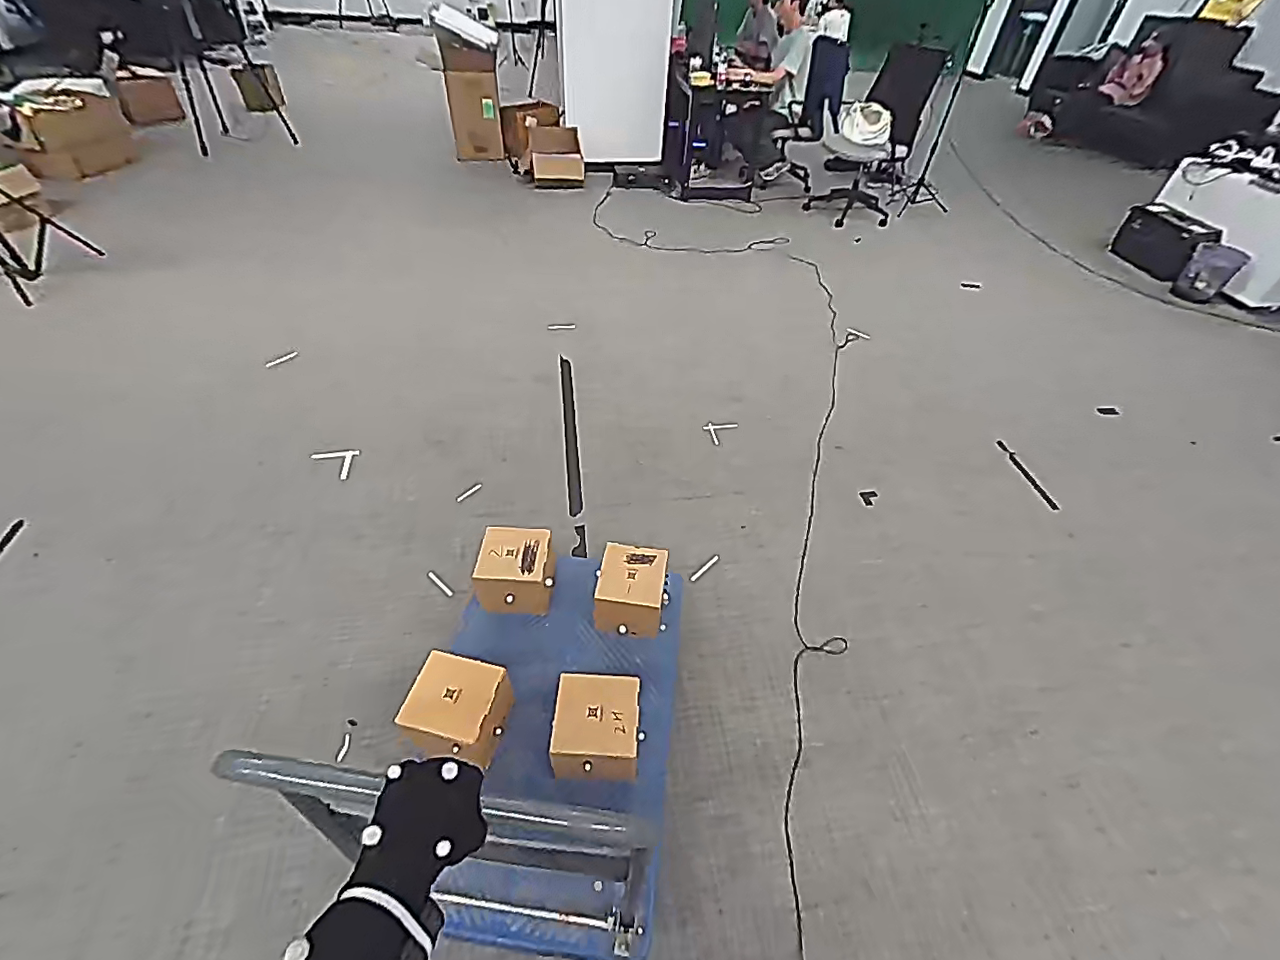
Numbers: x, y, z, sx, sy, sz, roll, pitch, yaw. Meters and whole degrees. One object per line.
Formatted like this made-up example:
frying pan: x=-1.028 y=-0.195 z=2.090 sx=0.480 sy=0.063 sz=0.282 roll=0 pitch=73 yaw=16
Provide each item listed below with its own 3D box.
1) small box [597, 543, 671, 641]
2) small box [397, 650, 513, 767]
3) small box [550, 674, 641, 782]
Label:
small box: x=-0.017 y=0.296 z=1.427 sx=0.168 sy=0.176 sz=0.179 roll=8 pitch=46 yaw=5
small box: x=-0.396 y=0.507 z=1.194 sx=0.179 sy=0.176 sz=0.168 roll=12 pitch=46 yaw=6
small box: x=-0.091 y=0.542 z=1.178 sx=0.179 sy=0.176 sz=0.168 roll=4 pitch=45 yaw=1
